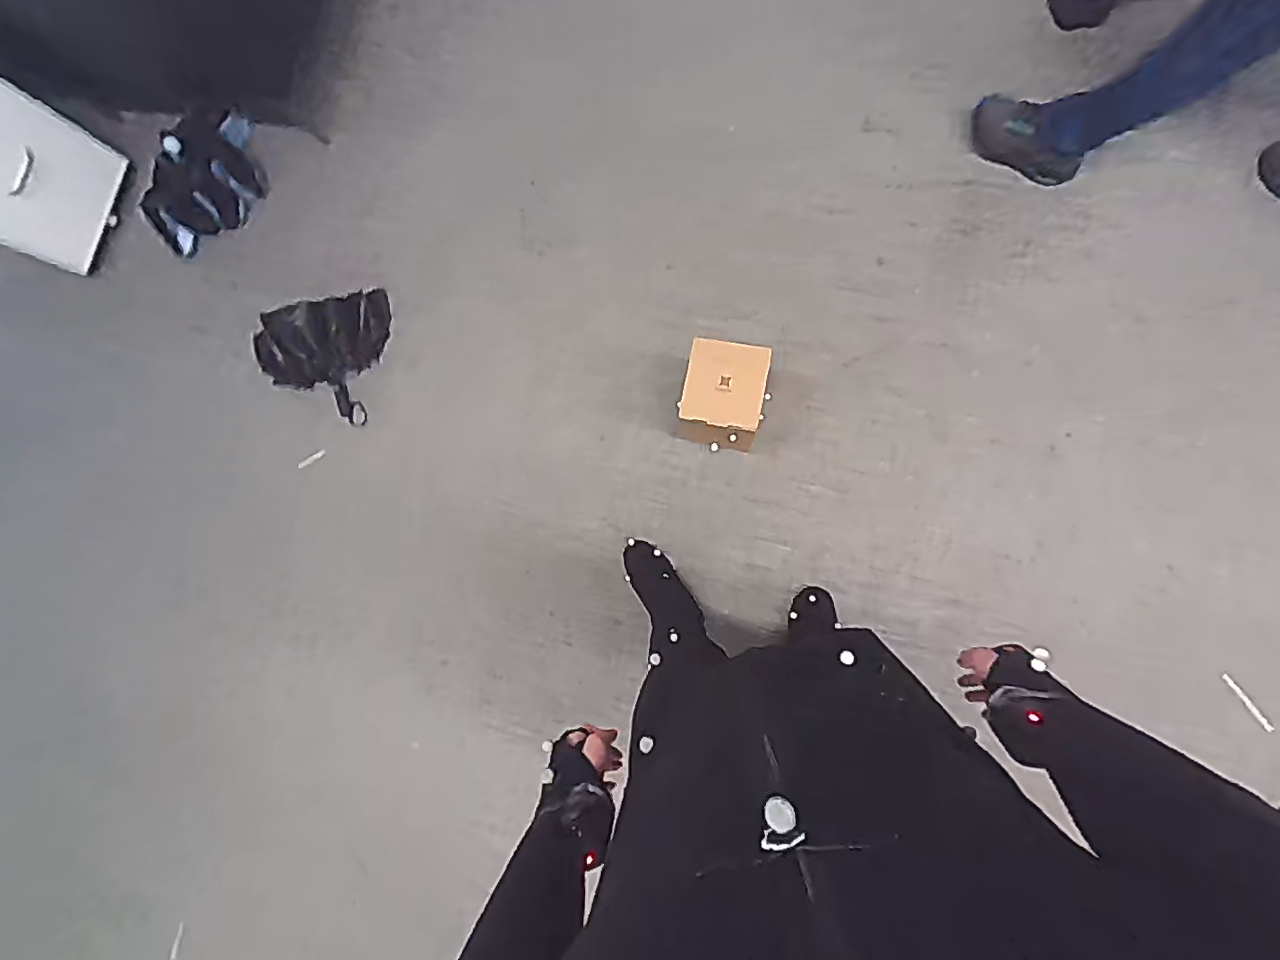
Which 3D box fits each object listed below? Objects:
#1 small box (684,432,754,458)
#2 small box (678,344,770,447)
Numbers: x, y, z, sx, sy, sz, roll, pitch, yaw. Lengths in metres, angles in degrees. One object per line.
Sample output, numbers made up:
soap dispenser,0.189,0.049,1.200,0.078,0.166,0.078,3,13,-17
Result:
small box,0.210,-0.162,1.341,0.168,0.176,0.179,11,87,10
small box,0.184,-0.177,1.182,0.168,0.176,0.179,9,85,9
